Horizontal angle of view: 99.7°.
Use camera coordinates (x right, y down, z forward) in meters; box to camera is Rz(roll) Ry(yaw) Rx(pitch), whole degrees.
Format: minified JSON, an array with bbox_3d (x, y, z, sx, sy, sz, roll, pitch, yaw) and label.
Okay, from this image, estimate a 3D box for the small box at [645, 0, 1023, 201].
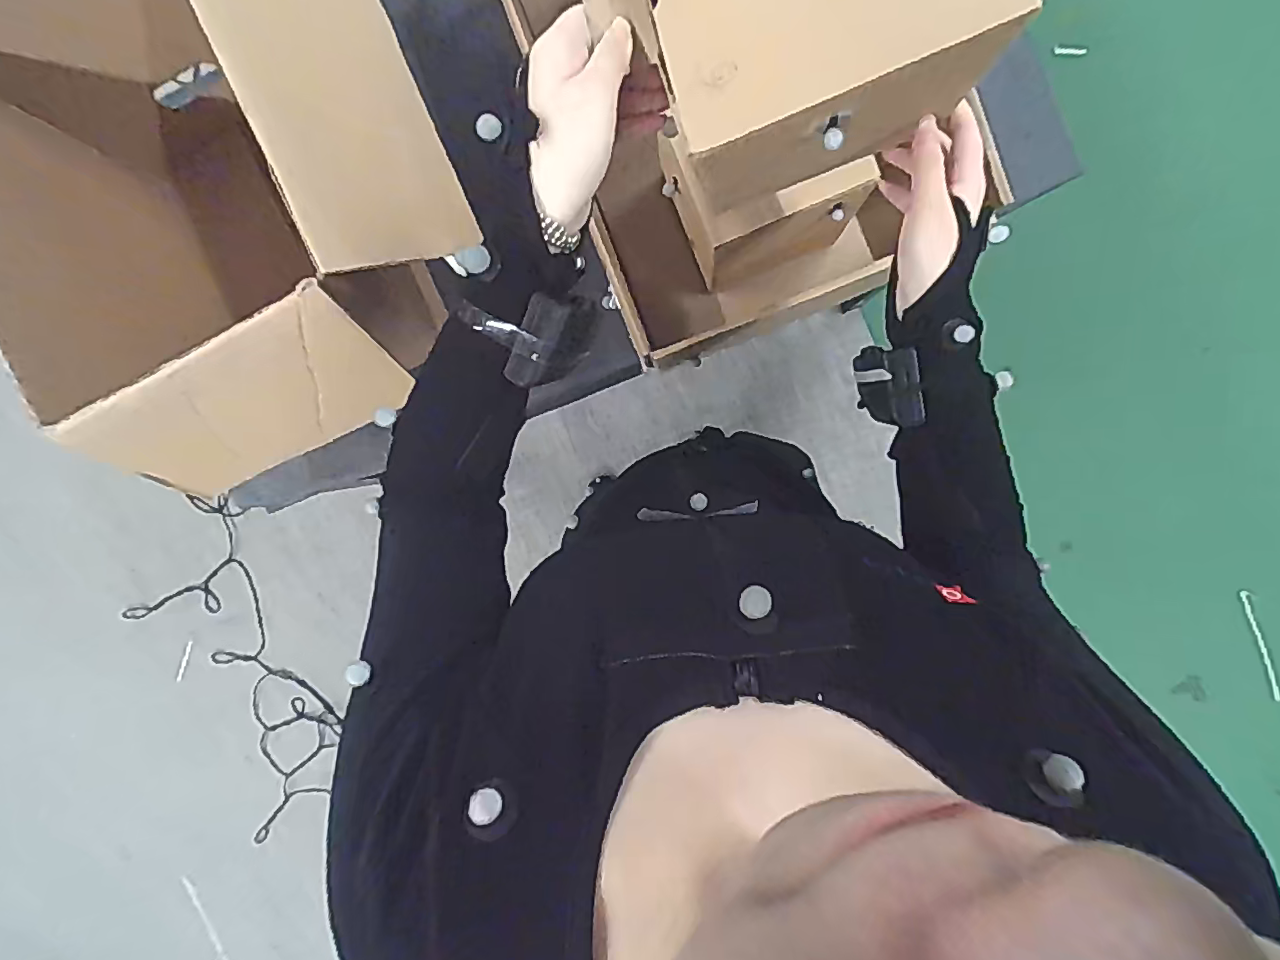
[{"bbox_3d":[0.101,-0.304,0.346,0.179,0.176,0.168,-15,103,16],"label":"small box"}]
